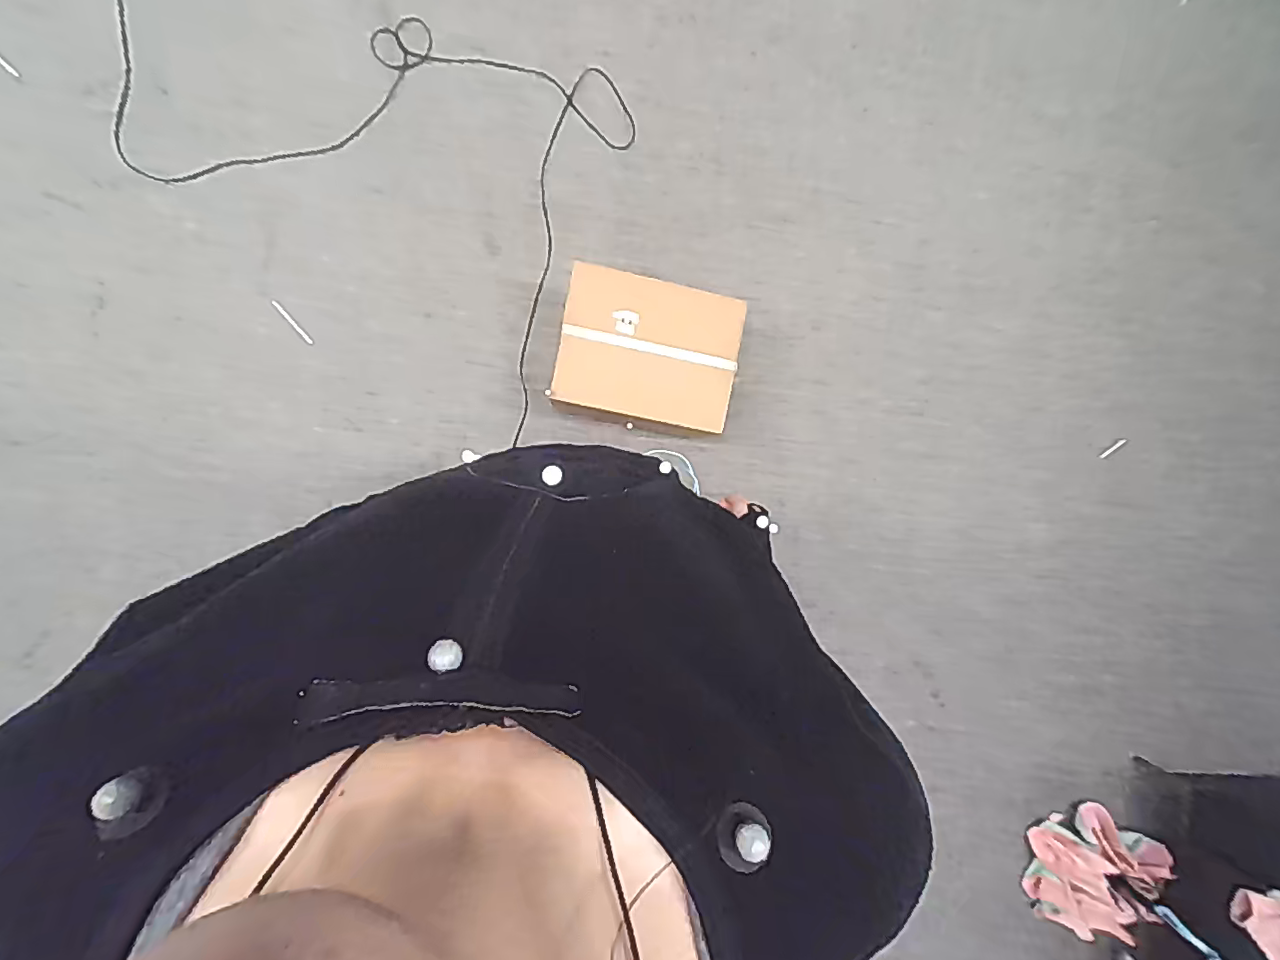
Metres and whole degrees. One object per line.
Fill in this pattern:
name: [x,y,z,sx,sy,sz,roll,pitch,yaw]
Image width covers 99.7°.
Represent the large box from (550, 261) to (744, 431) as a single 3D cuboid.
large box: [0.007,-0.312,1.371,0.408,0.320,0.320,11,91,-6]
